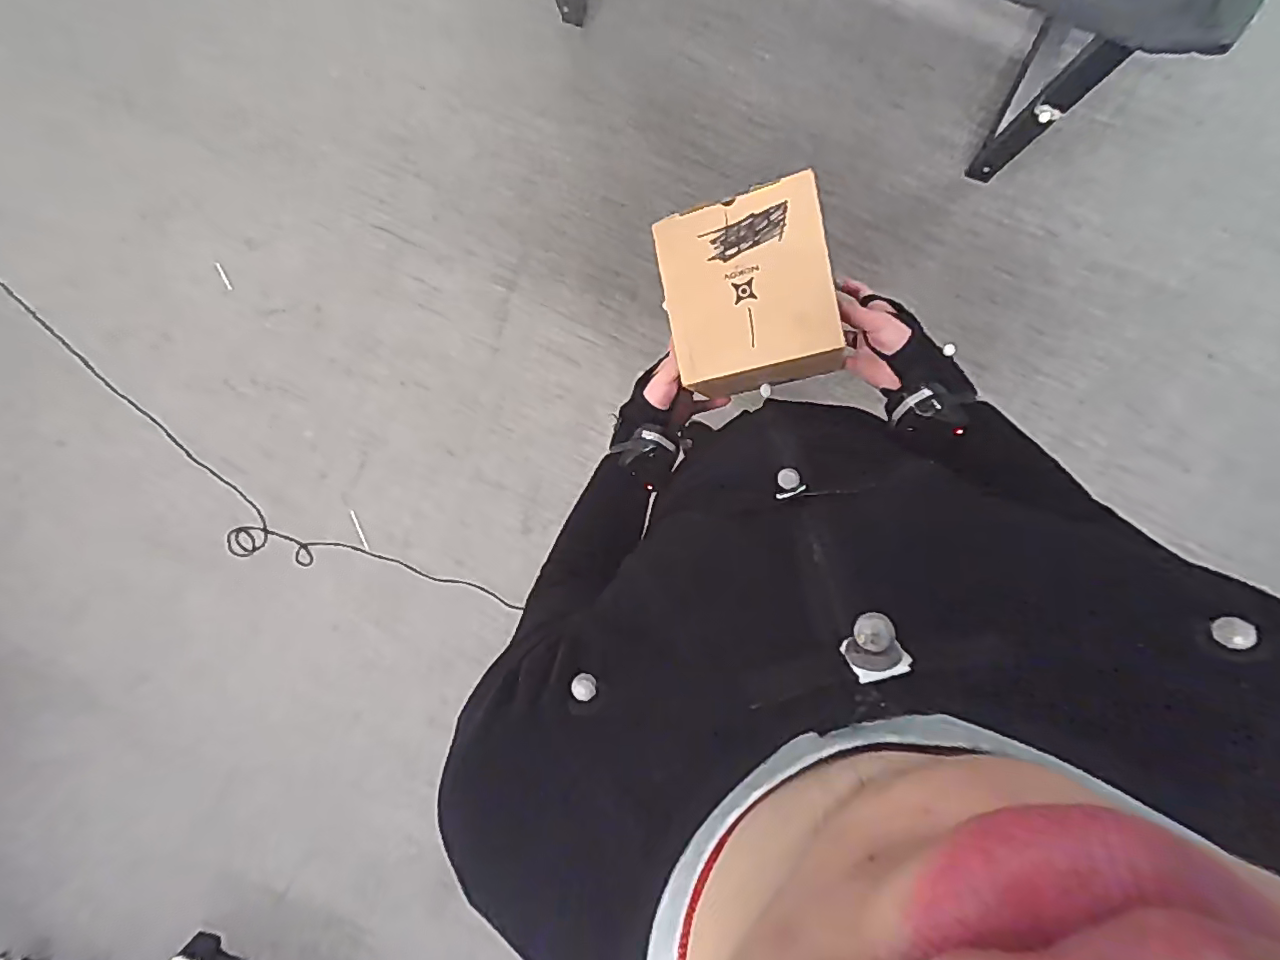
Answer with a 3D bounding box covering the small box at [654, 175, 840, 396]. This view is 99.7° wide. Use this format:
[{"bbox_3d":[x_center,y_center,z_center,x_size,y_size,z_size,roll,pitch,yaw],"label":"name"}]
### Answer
[{"bbox_3d":[0.128,-0.203,0.622,0.168,0.176,0.179,-10,91,19],"label":"small box"}]
